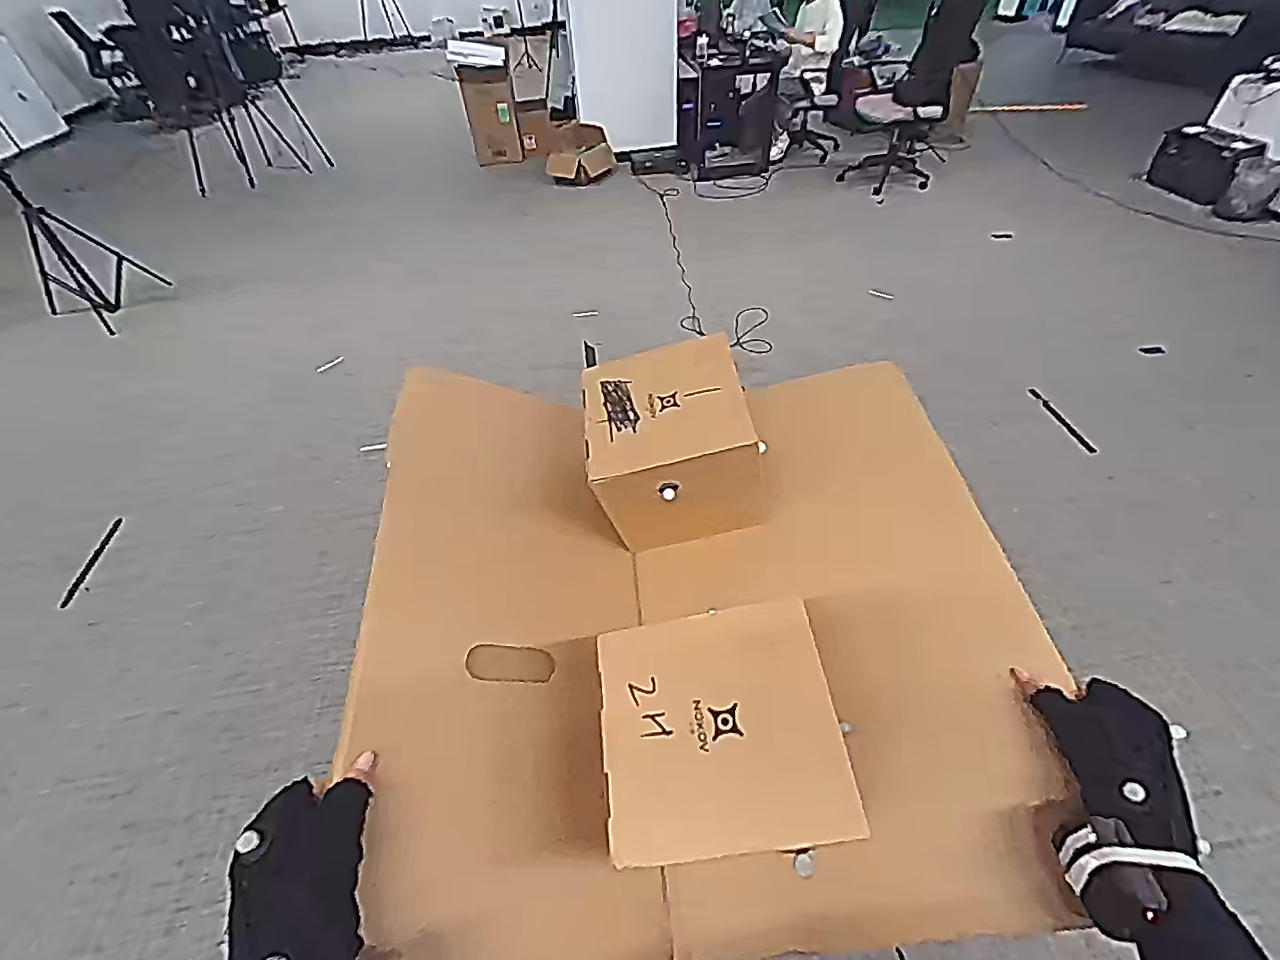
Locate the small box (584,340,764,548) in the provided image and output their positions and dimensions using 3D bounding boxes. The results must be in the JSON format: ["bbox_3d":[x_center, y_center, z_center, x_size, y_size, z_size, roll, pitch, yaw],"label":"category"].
[{"bbox_3d":[0.043,-0.034,0.656,0.179,0.176,0.168,-13,55,8],"label":"small box"}]

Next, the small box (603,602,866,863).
[{"bbox_3d":[0.078,0.225,0.475,0.179,0.176,0.168,-13,55,10],"label":"small box"}]
